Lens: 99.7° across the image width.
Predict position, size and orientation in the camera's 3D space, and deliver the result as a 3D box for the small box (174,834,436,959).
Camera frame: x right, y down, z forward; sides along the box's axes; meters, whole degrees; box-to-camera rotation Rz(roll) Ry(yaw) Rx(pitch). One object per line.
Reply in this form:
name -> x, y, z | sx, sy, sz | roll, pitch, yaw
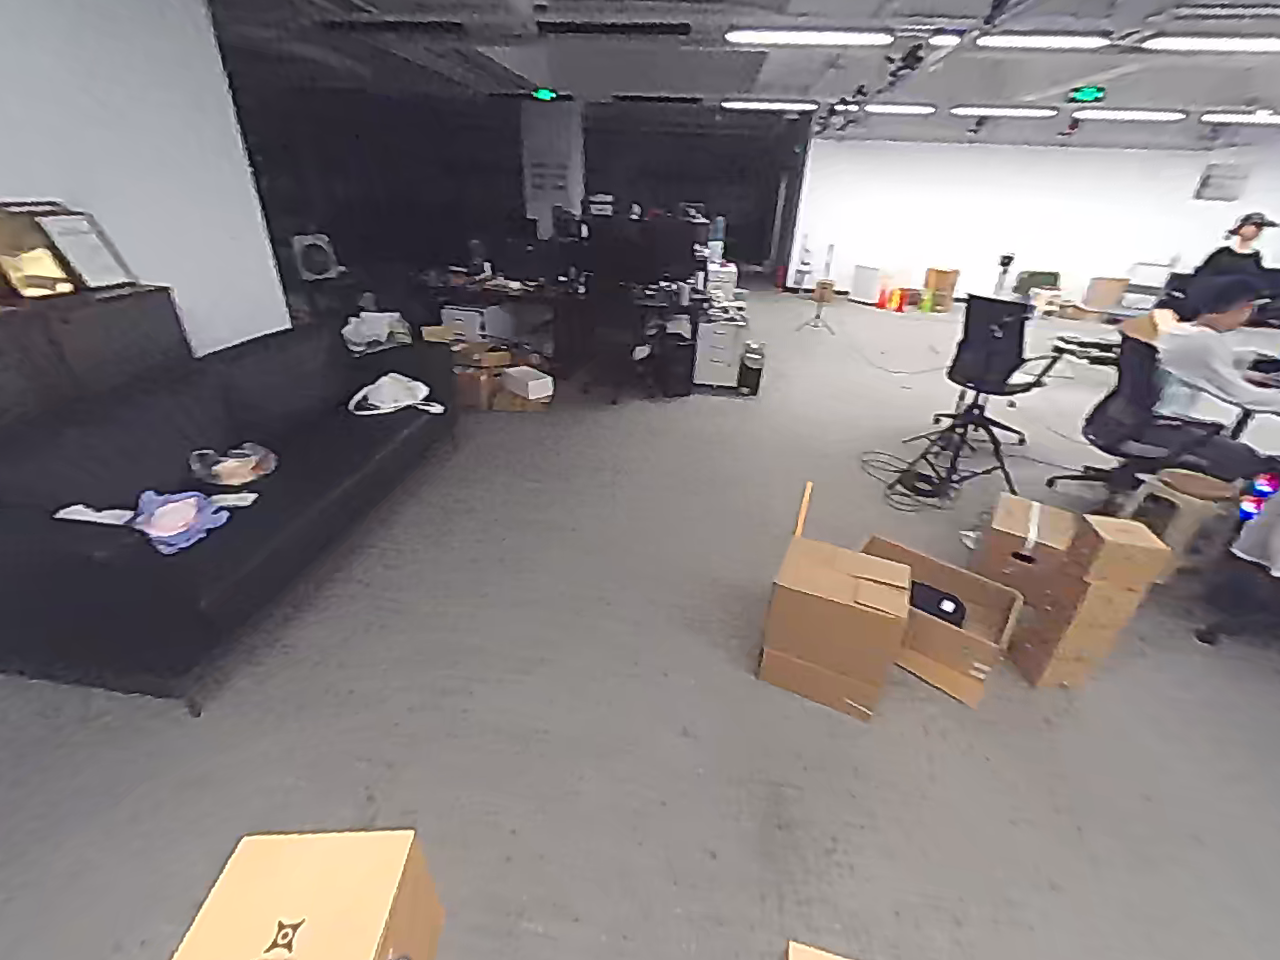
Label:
small box -> -0.294, 0.452, 0.480 | 0.168, 0.176, 0.179 | 0, 29, -2
